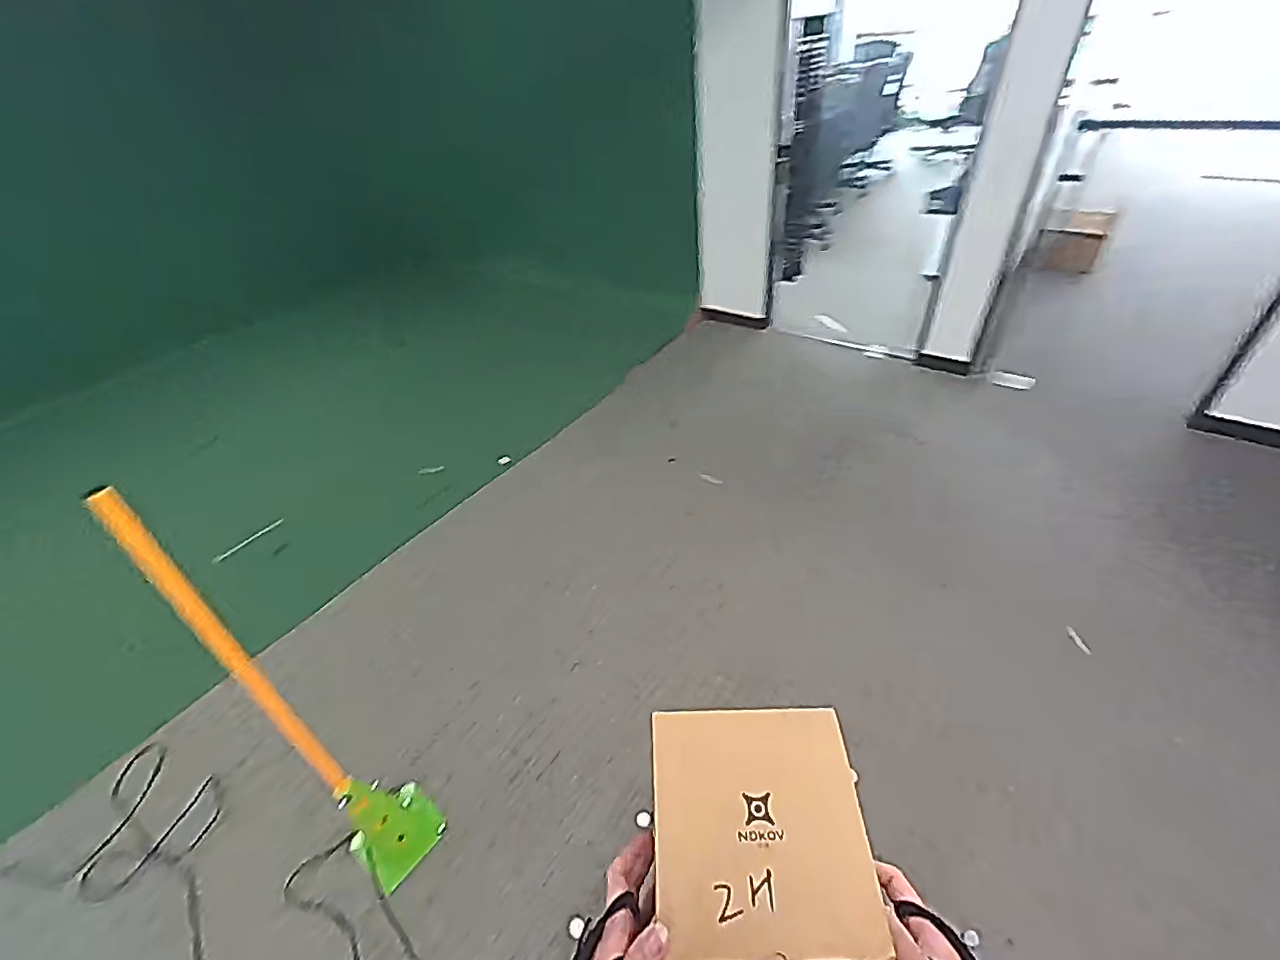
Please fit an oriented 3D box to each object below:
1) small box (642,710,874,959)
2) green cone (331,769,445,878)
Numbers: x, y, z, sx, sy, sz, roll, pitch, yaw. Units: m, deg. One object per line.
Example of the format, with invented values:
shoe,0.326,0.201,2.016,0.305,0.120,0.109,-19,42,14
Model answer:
small box,0.085,0.330,0.494,0.168,0.176,0.179,-2,47,1
green cone,-0.684,0.822,1.385,0.200,0.368,0.202,26,51,31
